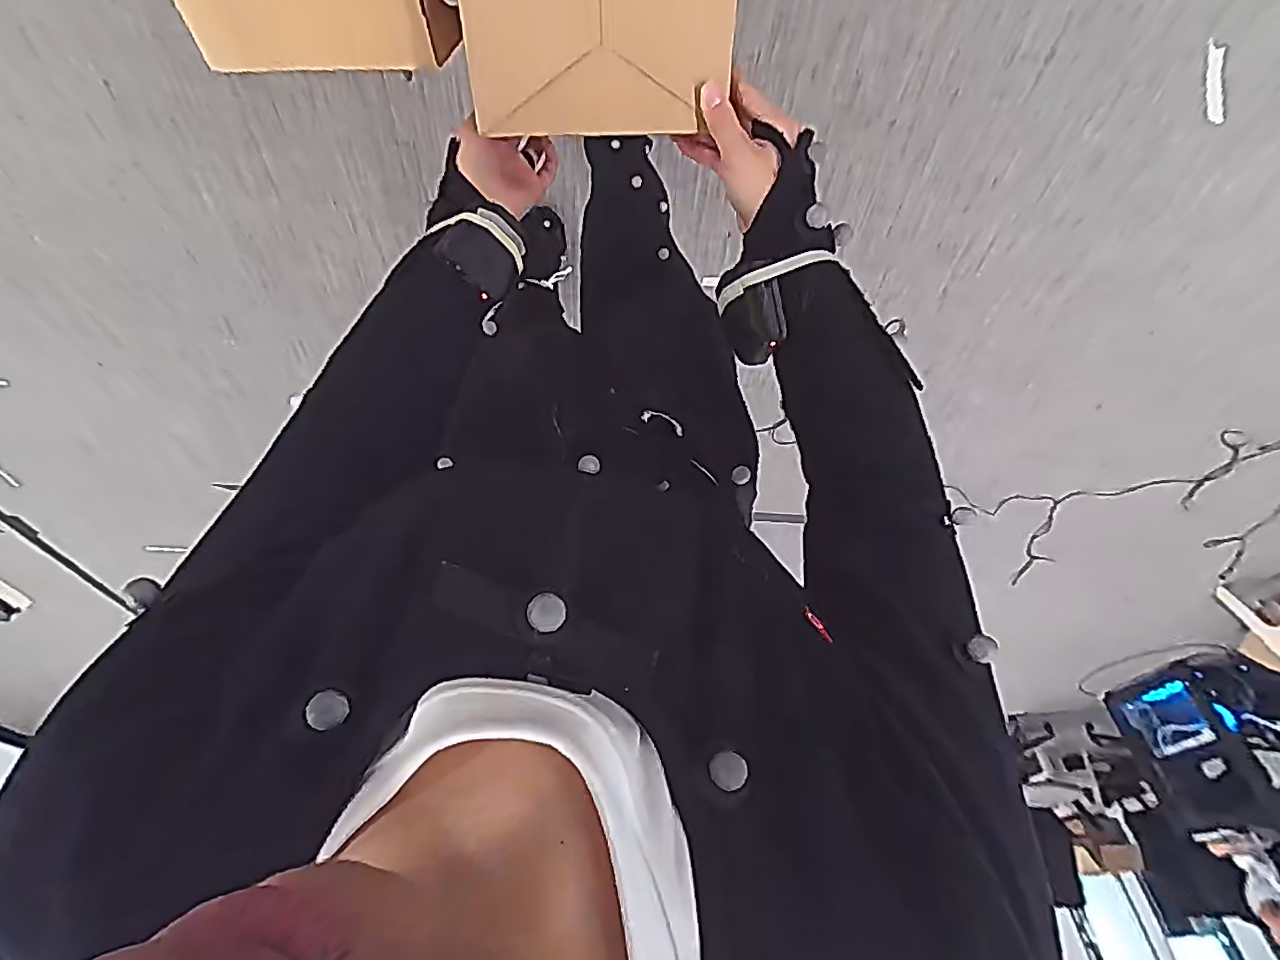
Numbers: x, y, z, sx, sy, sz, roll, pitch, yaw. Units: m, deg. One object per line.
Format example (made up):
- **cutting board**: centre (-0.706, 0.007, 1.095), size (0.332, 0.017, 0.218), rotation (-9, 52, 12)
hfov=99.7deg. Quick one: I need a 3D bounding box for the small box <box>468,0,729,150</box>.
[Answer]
- **small box**: centre (-0.031, -0.357, 0.406), size (0.179, 0.176, 0.168), rotation (-5, 130, -6)
